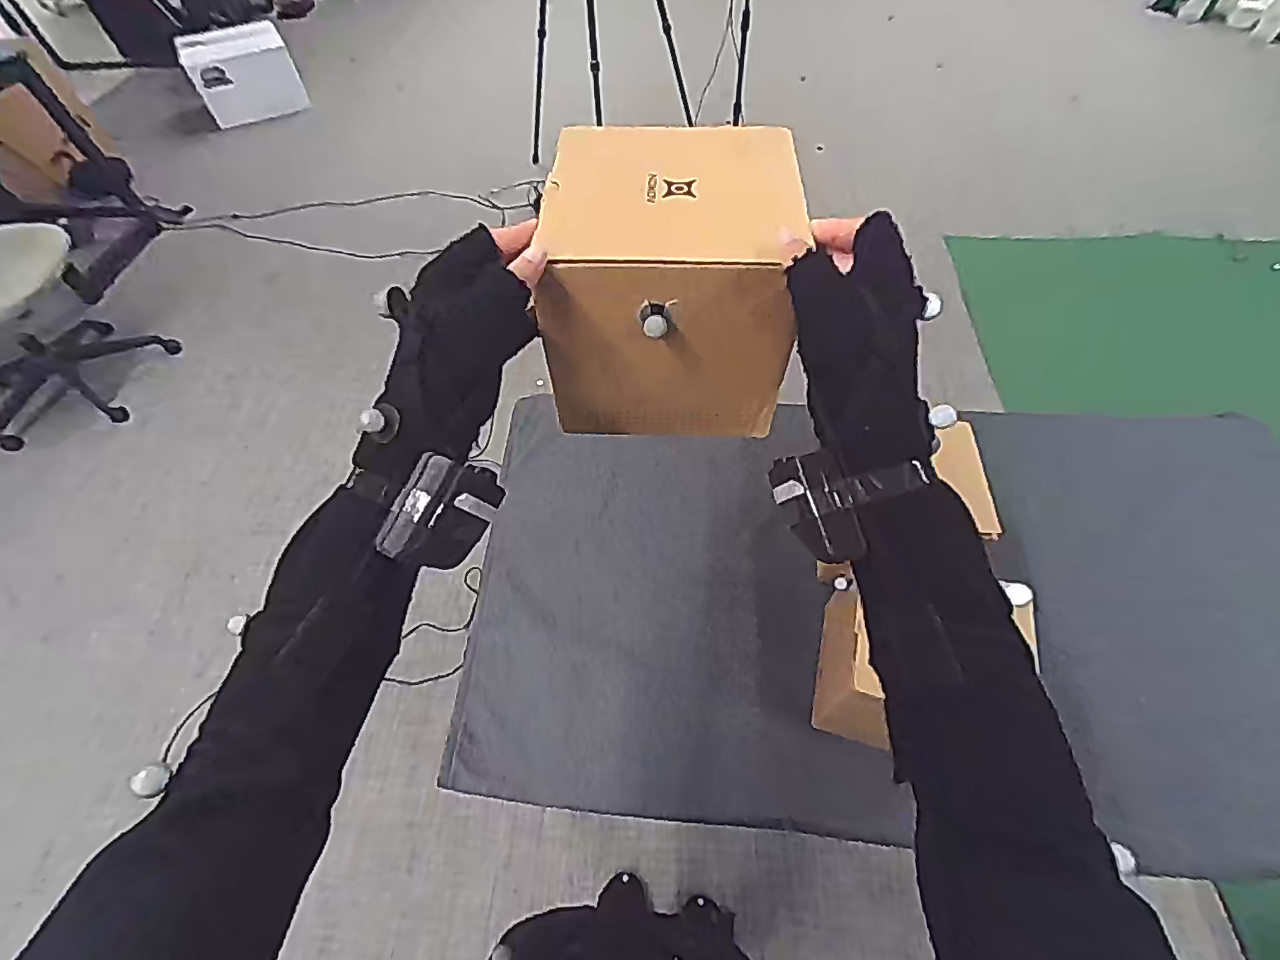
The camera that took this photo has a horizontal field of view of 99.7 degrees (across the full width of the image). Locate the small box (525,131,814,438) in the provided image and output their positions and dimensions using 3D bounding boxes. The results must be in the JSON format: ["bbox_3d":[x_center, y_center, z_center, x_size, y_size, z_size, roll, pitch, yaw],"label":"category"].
[{"bbox_3d":[0.024,-0.146,0.431,0.179,0.176,0.168,1,57,4],"label":"small box"}]
